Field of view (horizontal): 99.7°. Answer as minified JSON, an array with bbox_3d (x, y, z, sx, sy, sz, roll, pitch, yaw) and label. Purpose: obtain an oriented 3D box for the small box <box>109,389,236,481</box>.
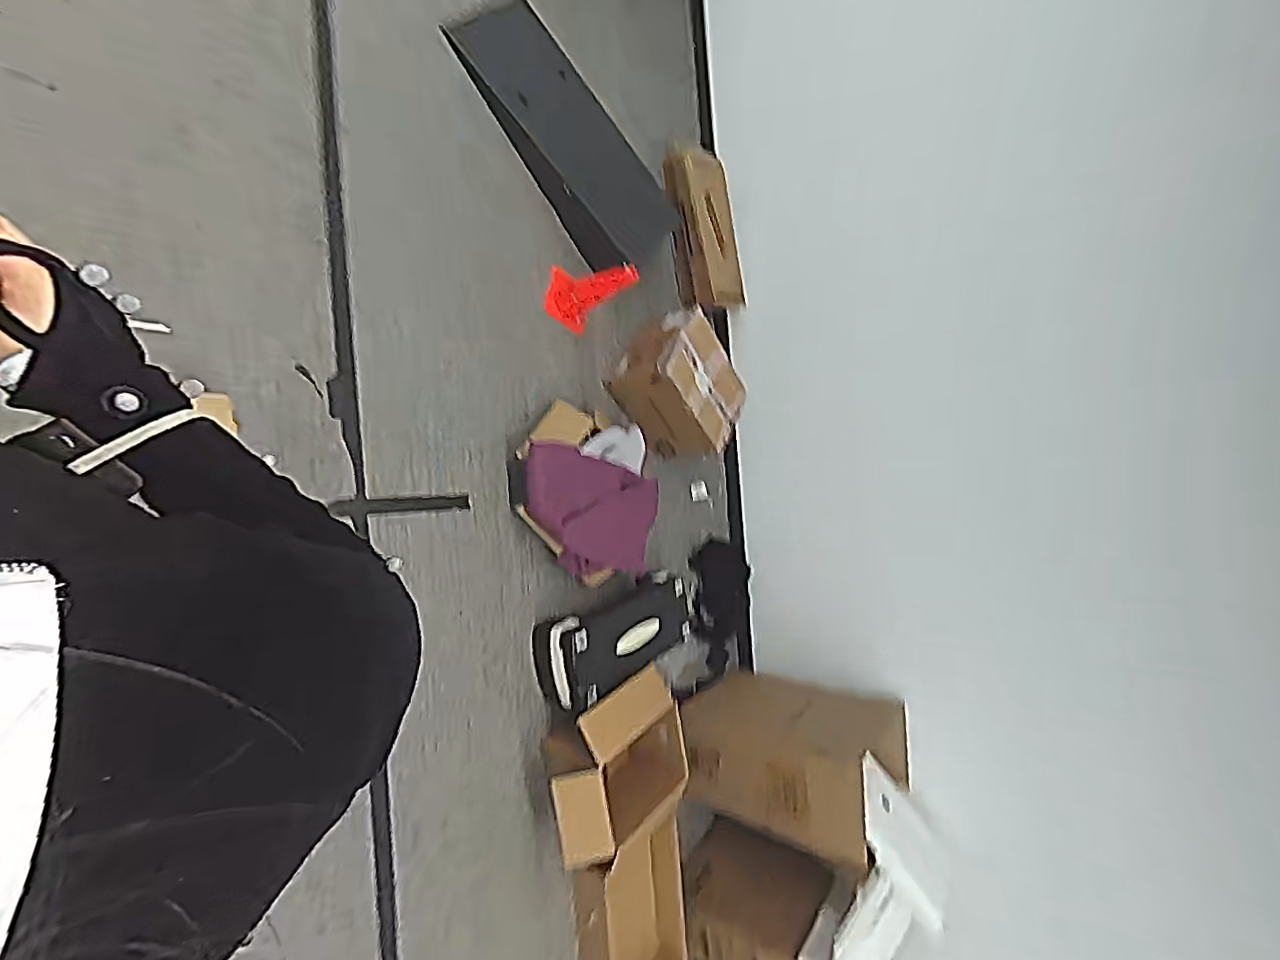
[{"bbox_3d":[-0.978,-0.088,1.132,0.179,0.176,0.168,-4,89,-49],"label":"small box"}]
